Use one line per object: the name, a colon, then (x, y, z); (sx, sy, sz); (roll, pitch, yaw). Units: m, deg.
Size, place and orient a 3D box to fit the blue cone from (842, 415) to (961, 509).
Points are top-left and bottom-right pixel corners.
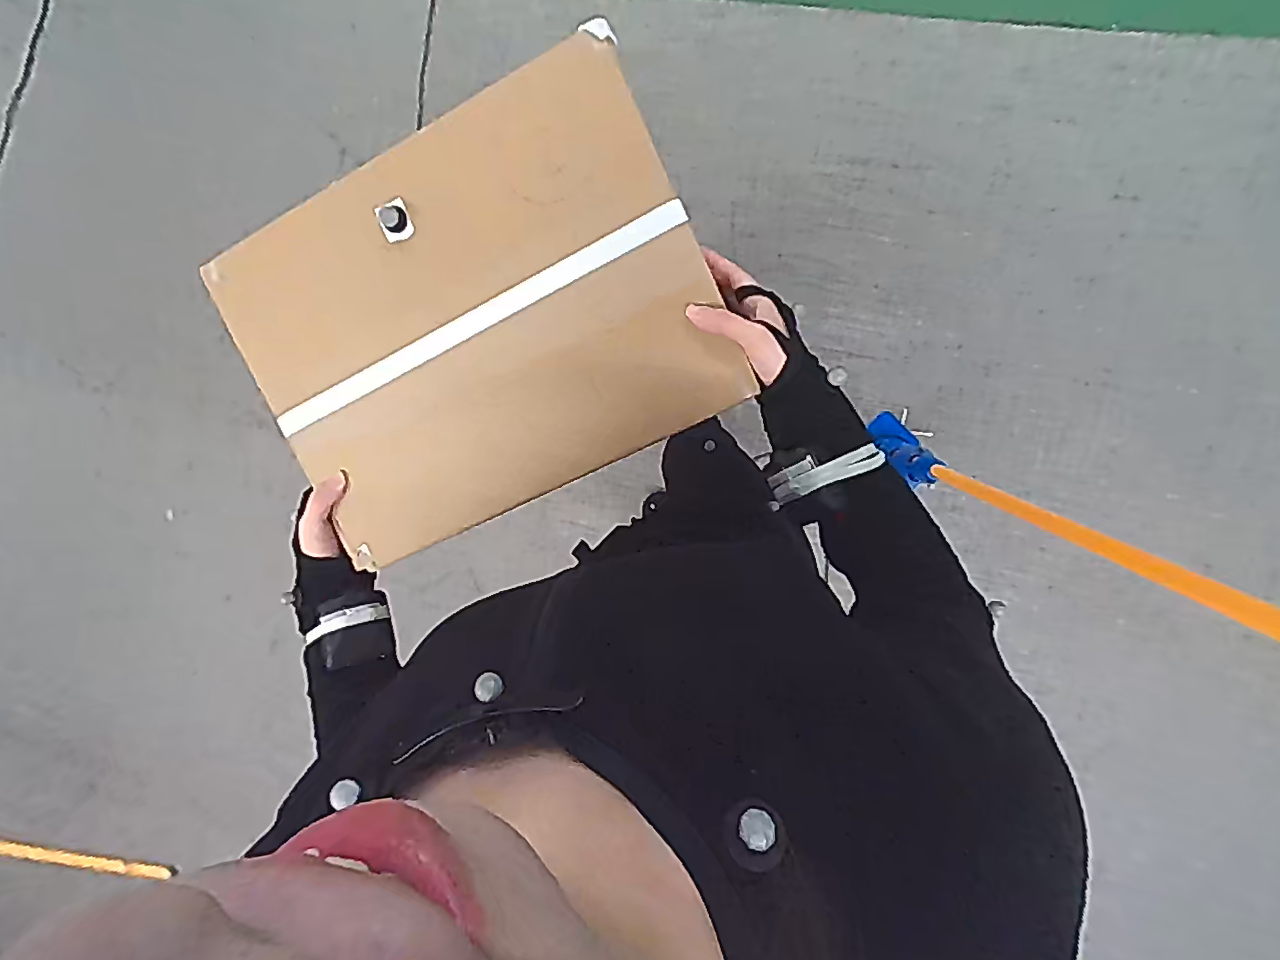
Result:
blue cone: (0.612, -0.037, 1.213); (0.192, 0.380, 0.193); (44, 98, 3)
